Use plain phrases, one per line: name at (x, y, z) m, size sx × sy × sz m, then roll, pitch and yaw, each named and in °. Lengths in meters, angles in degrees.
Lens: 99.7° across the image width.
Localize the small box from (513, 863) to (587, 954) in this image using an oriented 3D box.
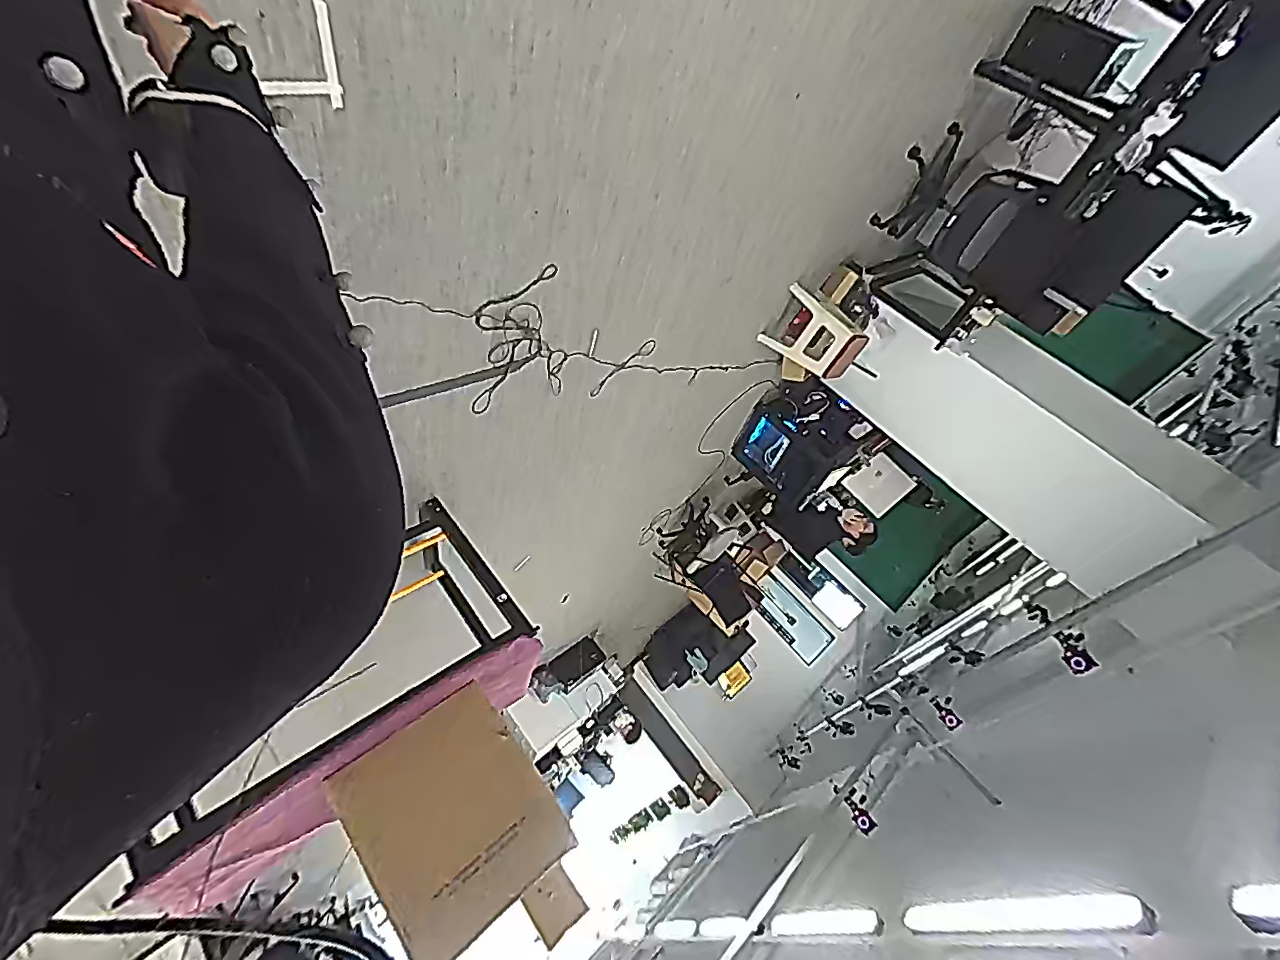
small box at (-0.301, 1.398, 1.771) m, size 0.168 × 0.176 × 0.179 m, roll -28°, pitch 154°, yaw -34°
